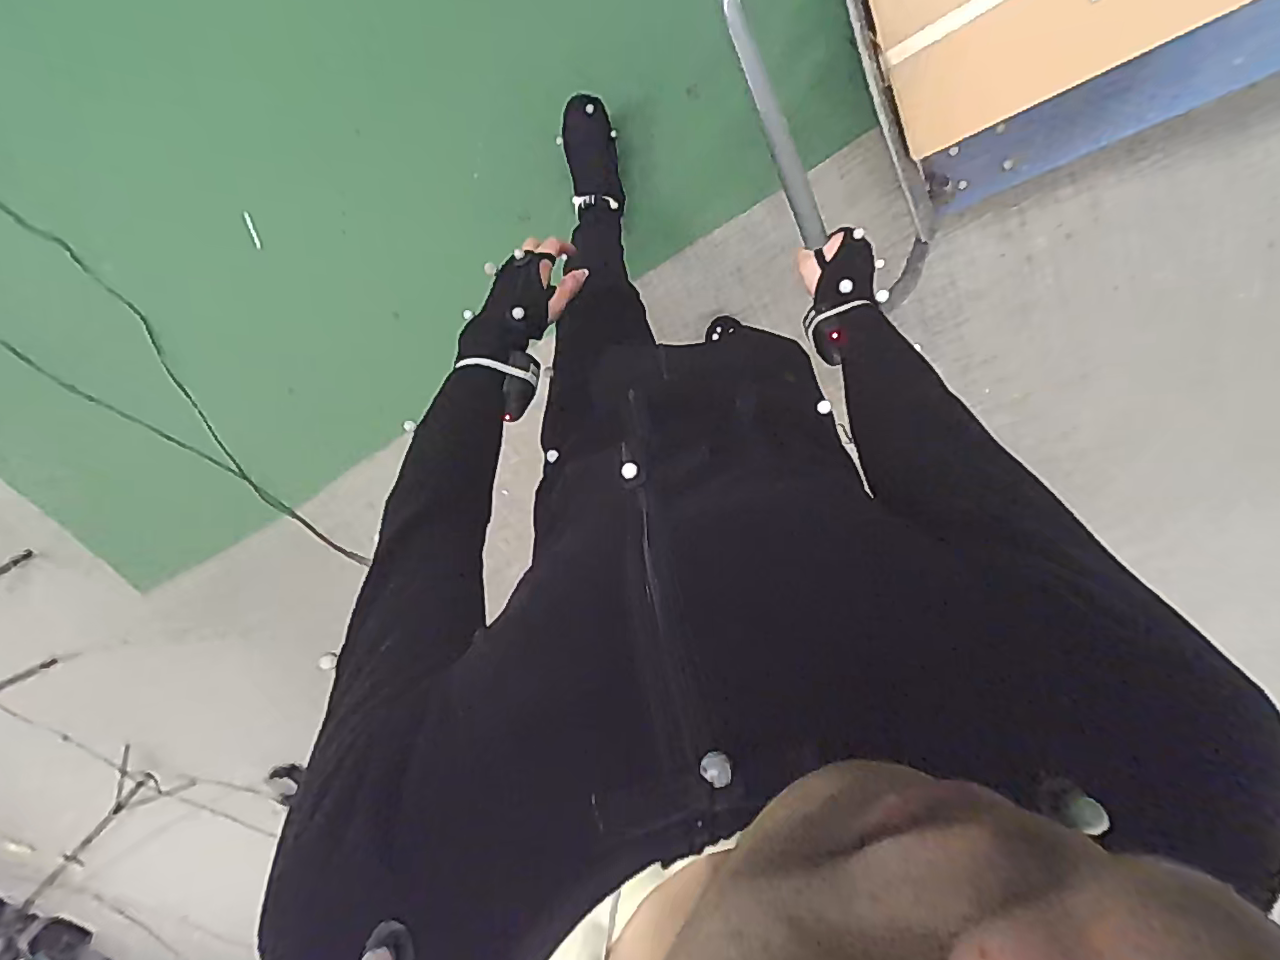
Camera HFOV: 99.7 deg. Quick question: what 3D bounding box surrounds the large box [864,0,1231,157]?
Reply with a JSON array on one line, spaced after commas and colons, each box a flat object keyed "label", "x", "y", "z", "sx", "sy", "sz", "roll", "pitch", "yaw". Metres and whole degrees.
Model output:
[{"label": "large box", "x": 0.590, "y": -0.774, "z": 0.828, "sx": 0.408, "sy": 0.320, "sz": 0.320, "roll": -12, "pitch": 119, "yaw": 36}]
